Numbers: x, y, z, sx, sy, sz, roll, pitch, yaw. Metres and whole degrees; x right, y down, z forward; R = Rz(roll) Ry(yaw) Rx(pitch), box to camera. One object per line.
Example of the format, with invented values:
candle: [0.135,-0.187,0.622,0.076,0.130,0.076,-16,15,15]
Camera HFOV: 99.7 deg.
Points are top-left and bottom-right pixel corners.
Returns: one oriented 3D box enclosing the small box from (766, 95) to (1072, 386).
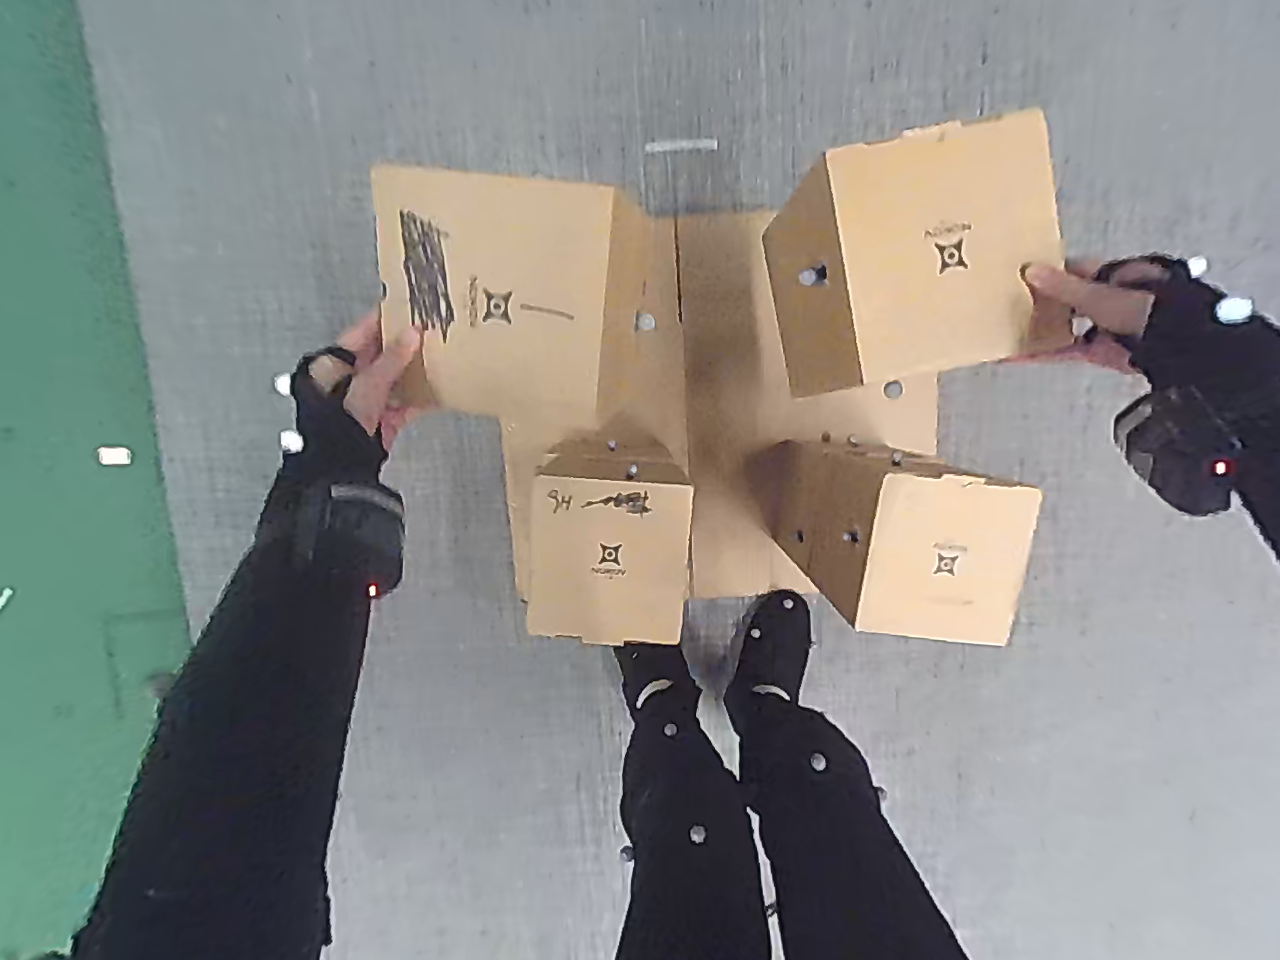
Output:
small box: [0.220,-0.182,0.468,0.168,0.176,0.179,-11,94,-3]

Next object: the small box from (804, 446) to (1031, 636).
small box: [0.309,0.060,0.644,0.168,0.176,0.179,8,100,-1]

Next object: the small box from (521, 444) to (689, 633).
small box: [-0.039,0.059,0.644,0.168,0.176,0.179,5,100,-2]

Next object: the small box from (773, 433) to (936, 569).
small box: [0.304,0.029,0.805,0.168,0.176,0.179,4,99,-2]
